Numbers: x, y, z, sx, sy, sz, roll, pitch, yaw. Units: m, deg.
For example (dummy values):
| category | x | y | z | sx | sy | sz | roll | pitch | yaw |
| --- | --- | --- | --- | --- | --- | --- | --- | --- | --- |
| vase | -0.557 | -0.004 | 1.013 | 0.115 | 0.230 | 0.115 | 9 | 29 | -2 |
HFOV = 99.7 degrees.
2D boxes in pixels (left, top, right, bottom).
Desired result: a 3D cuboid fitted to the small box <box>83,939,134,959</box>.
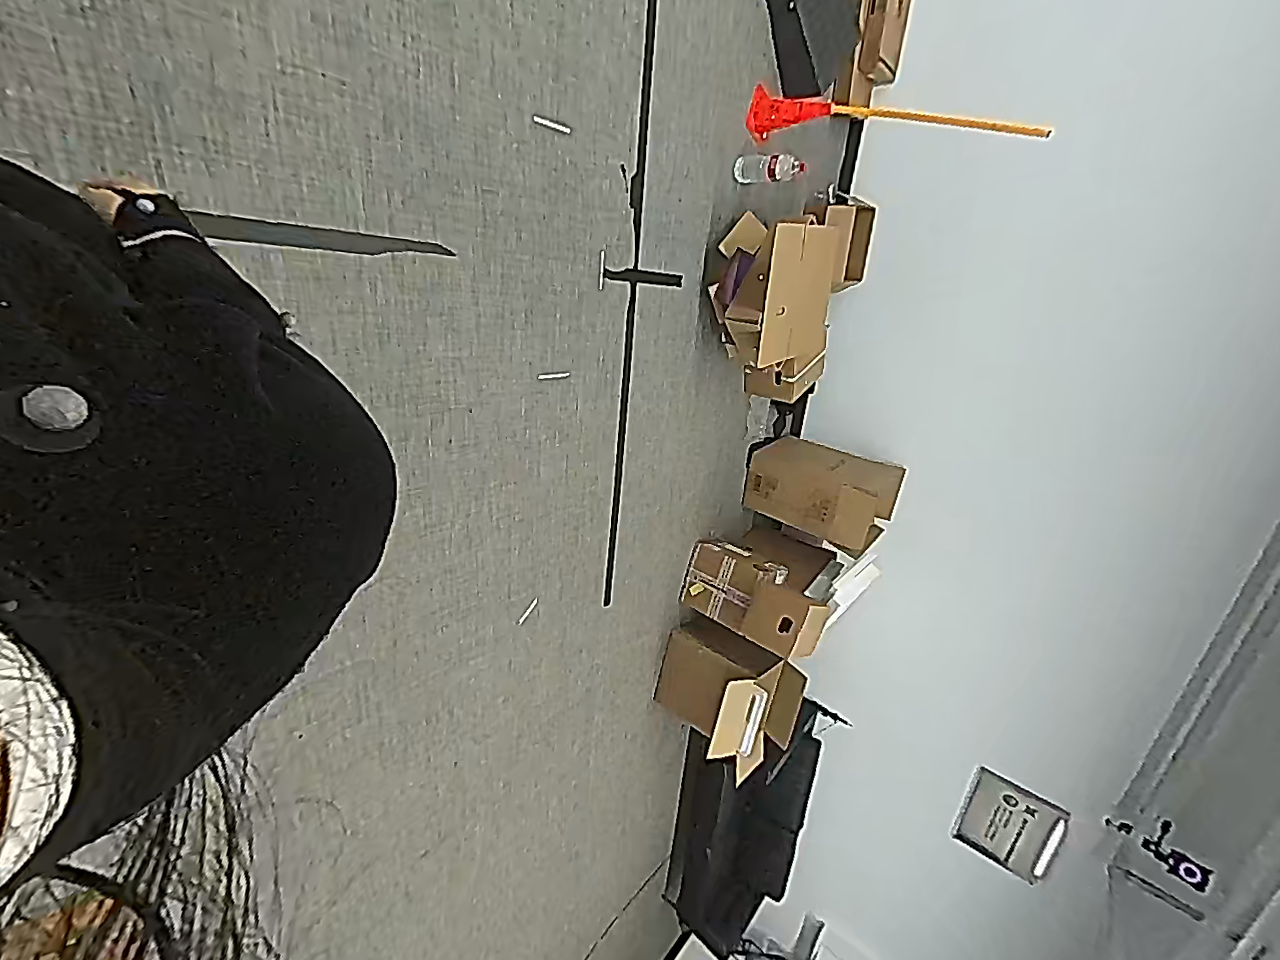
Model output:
| category | x | y | z | sx | sy | sz | roll | pitch | yaw |
| --- | --- | --- | --- | --- | --- | --- | --- | --- | --- |
| small box | -1.240 | 1.195 | 1.203 | 0.179 | 0.176 | 0.168 | -6 | 111 | -53 |

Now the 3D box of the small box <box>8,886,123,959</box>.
| category | x | y | z | sx | sy | sz | roll | pitch | yaw |
| --- | --- | --- | --- | --- | --- | --- | --- | --- | --- |
| small box | -1.368 | 1.139 | 1.291 | 0.179 | 0.176 | 0.168 | -11 | 115 | -52 |
